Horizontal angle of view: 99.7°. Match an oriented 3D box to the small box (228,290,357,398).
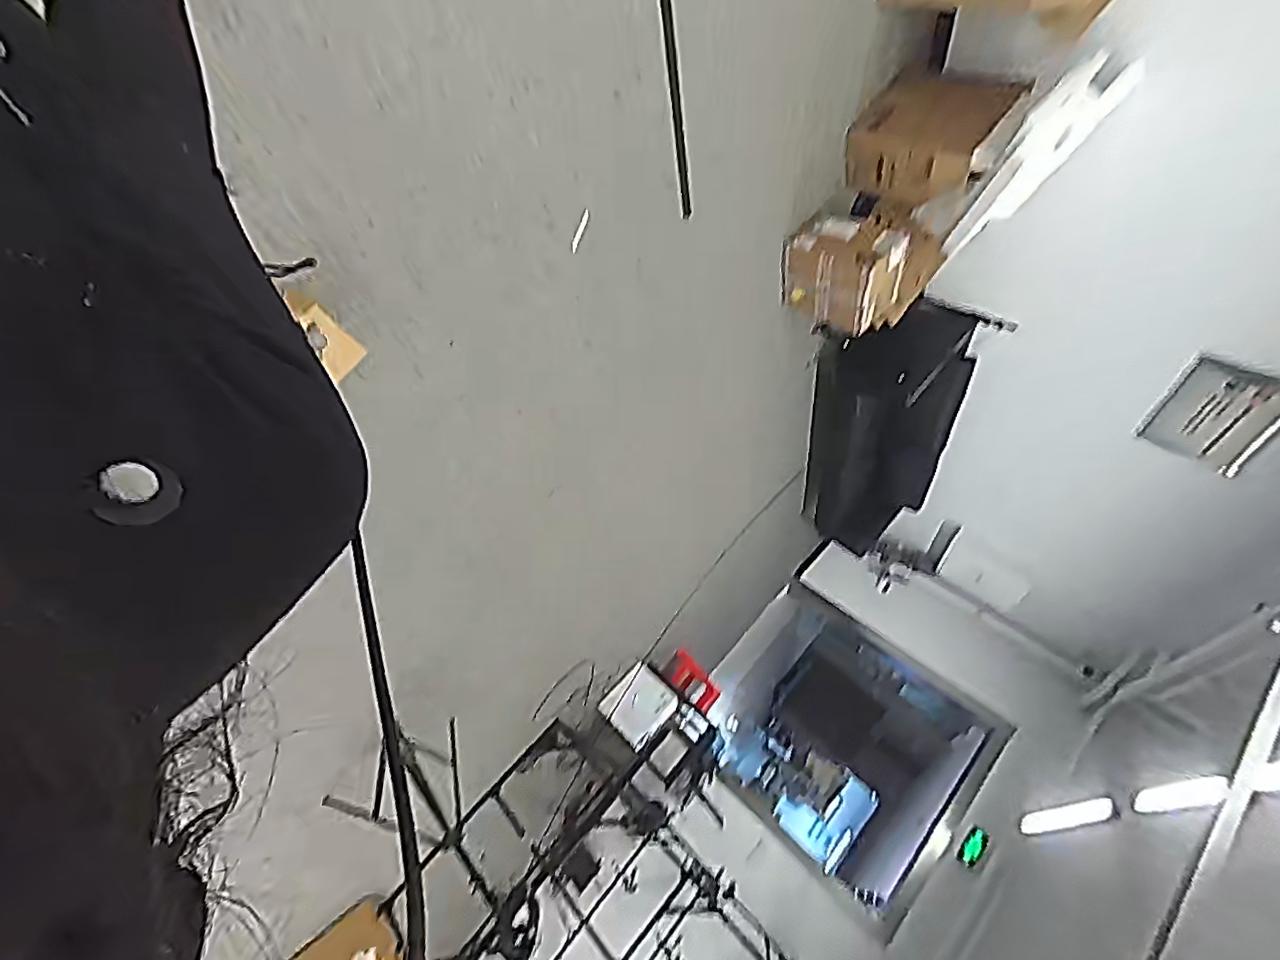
[{"bbox_3d":[-0.846,-0.338,1.314,0.168,0.176,0.179,-49,150,-10],"label":"small box"}]
